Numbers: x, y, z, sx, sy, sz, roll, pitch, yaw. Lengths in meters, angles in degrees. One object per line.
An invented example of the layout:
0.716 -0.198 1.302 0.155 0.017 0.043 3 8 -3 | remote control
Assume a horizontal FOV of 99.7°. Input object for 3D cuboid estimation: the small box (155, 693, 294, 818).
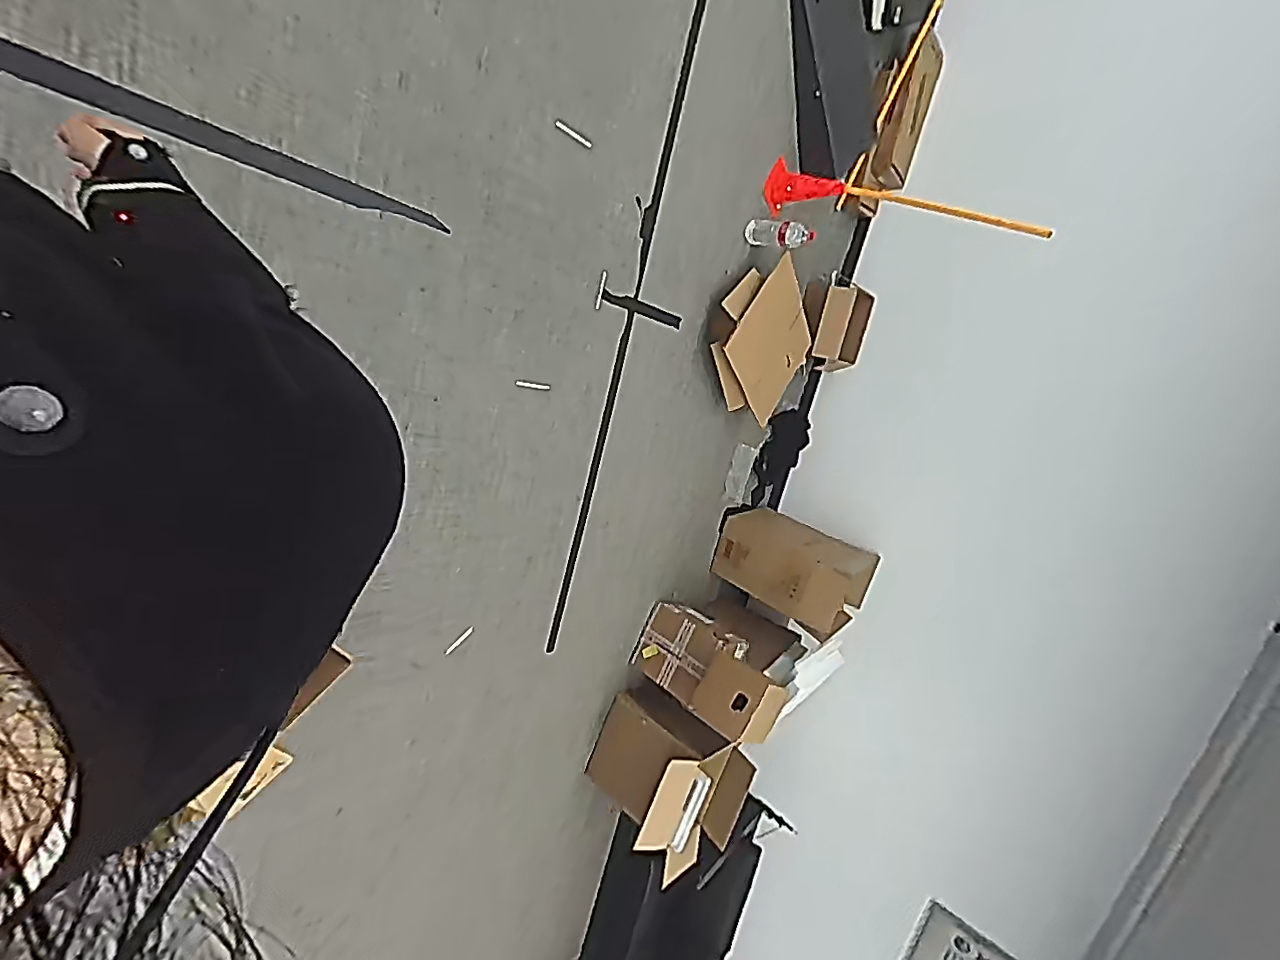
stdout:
-0.949 0.620 1.236 0.168 0.176 0.179 -44 140 -27 | small box
